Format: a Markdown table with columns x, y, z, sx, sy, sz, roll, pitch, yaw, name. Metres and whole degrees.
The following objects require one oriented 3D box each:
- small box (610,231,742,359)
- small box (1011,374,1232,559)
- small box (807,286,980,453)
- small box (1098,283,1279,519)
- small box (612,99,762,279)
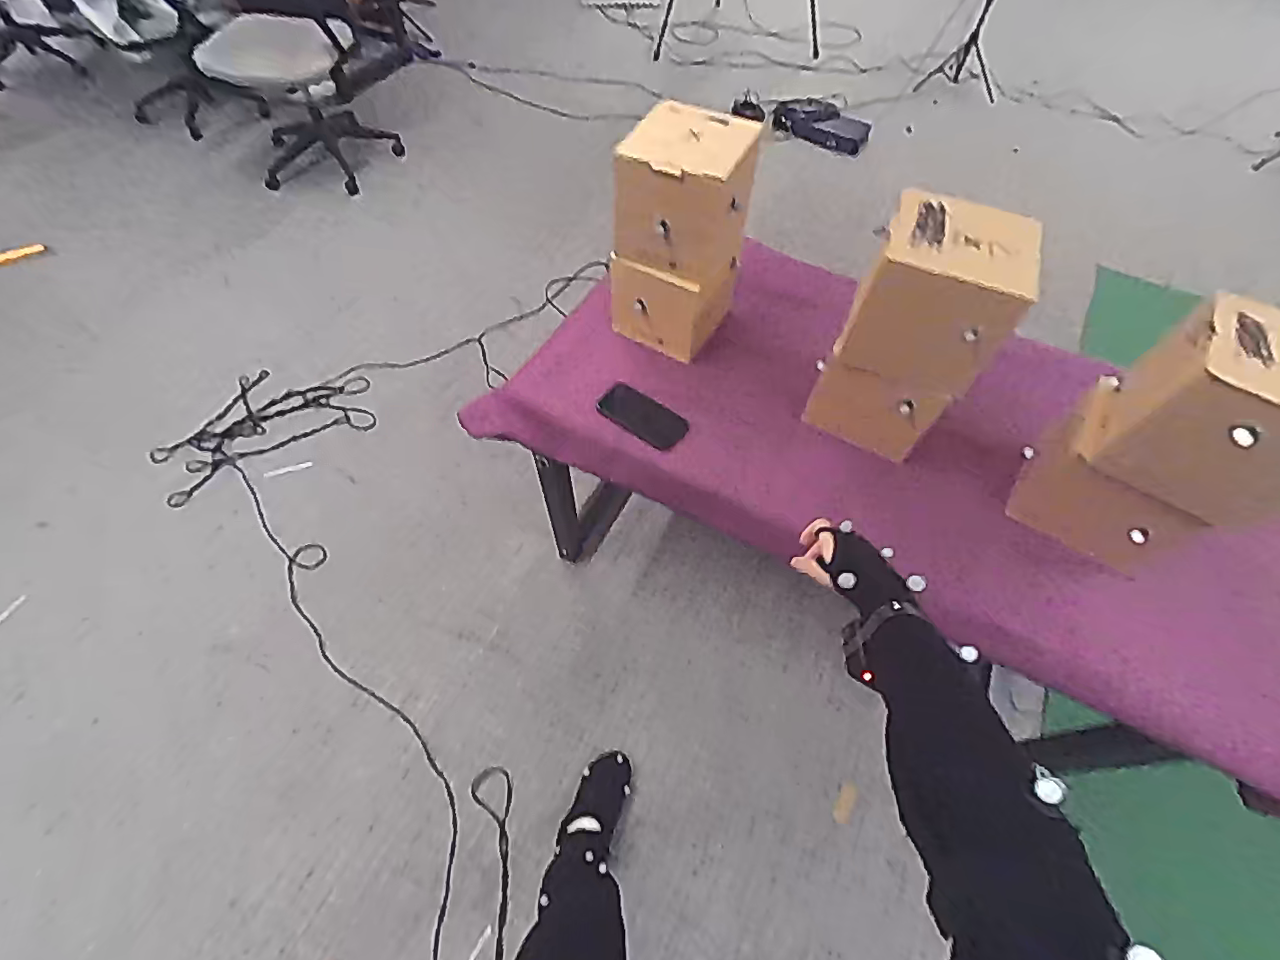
| x | y | z | sx | sy | sz | roll | pitch | yaw | name |
| --- | --- | --- | --- | --- | --- | --- | --- | --- | --- |
| 0.064 | -0.349 | 0.970 | 0.168 | 0.176 | 0.179 | 27 | 61 | 15 | small box |
| 0.681 | -0.011 | 0.767 | 0.179 | 0.176 | 0.168 | 31 | 62 | 19 | small box |
| 0.393 | -0.168 | 0.859 | 0.179 | 0.176 | 0.168 | 26 | 61 | 15 | small box |
| 0.683 | -0.085 | 0.619 | 0.179 | 0.176 | 0.168 | 32 | 62 | 17 | small box |
| 0.070 | -0.443 | 0.835 | 0.168 | 0.176 | 0.179 | 22 | 61 | 12 | small box |
